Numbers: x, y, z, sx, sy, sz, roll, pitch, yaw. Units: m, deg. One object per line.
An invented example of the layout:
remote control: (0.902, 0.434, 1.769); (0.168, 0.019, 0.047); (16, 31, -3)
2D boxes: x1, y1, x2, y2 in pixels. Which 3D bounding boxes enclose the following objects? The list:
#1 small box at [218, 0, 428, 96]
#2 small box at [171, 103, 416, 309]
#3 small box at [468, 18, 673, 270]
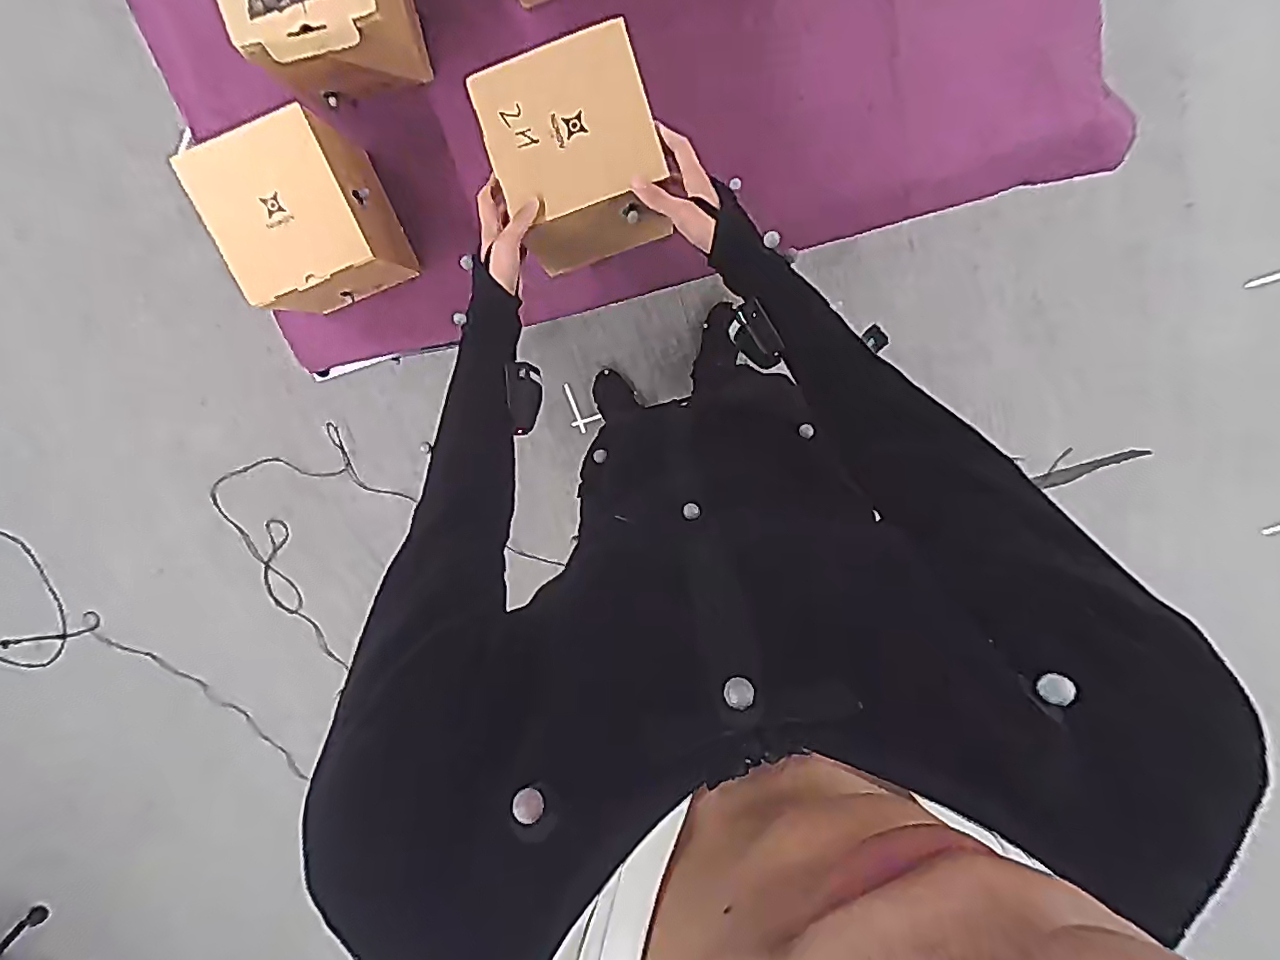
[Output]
small box: (-0.371, -0.580, 0.628); (0.168, 0.176, 0.179); (-12, 107, 2)
small box: (-0.424, -0.333, 0.698); (0.168, 0.176, 0.179); (-21, 106, 3)
small box: (-0.067, -0.370, 0.632); (0.179, 0.176, 0.168); (-17, 95, 6)
